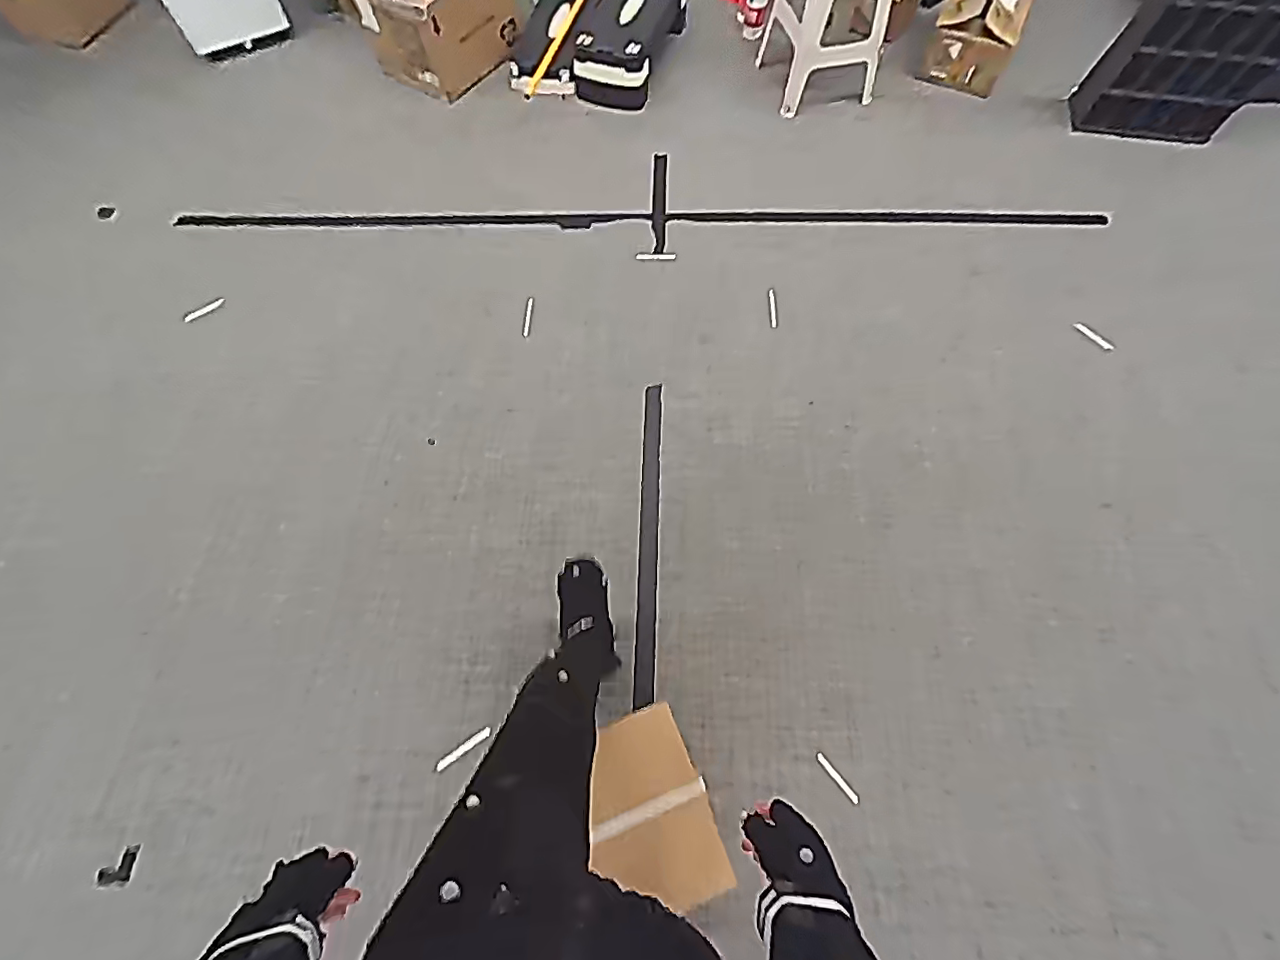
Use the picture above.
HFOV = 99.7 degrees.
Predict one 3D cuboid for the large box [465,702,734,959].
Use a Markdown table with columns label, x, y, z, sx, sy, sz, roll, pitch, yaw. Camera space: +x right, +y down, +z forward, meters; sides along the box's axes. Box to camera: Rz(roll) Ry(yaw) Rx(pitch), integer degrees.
| label | x | y | z | sx | sy | sz | roll | pitch | yaw |
| --- | --- | --- | --- | --- | --- | --- | --- | --- | --- |
| large box | -0.074 | 0.675 | 1.080 | 0.408 | 0.320 | 0.320 | -21 | 68 | -8 |
